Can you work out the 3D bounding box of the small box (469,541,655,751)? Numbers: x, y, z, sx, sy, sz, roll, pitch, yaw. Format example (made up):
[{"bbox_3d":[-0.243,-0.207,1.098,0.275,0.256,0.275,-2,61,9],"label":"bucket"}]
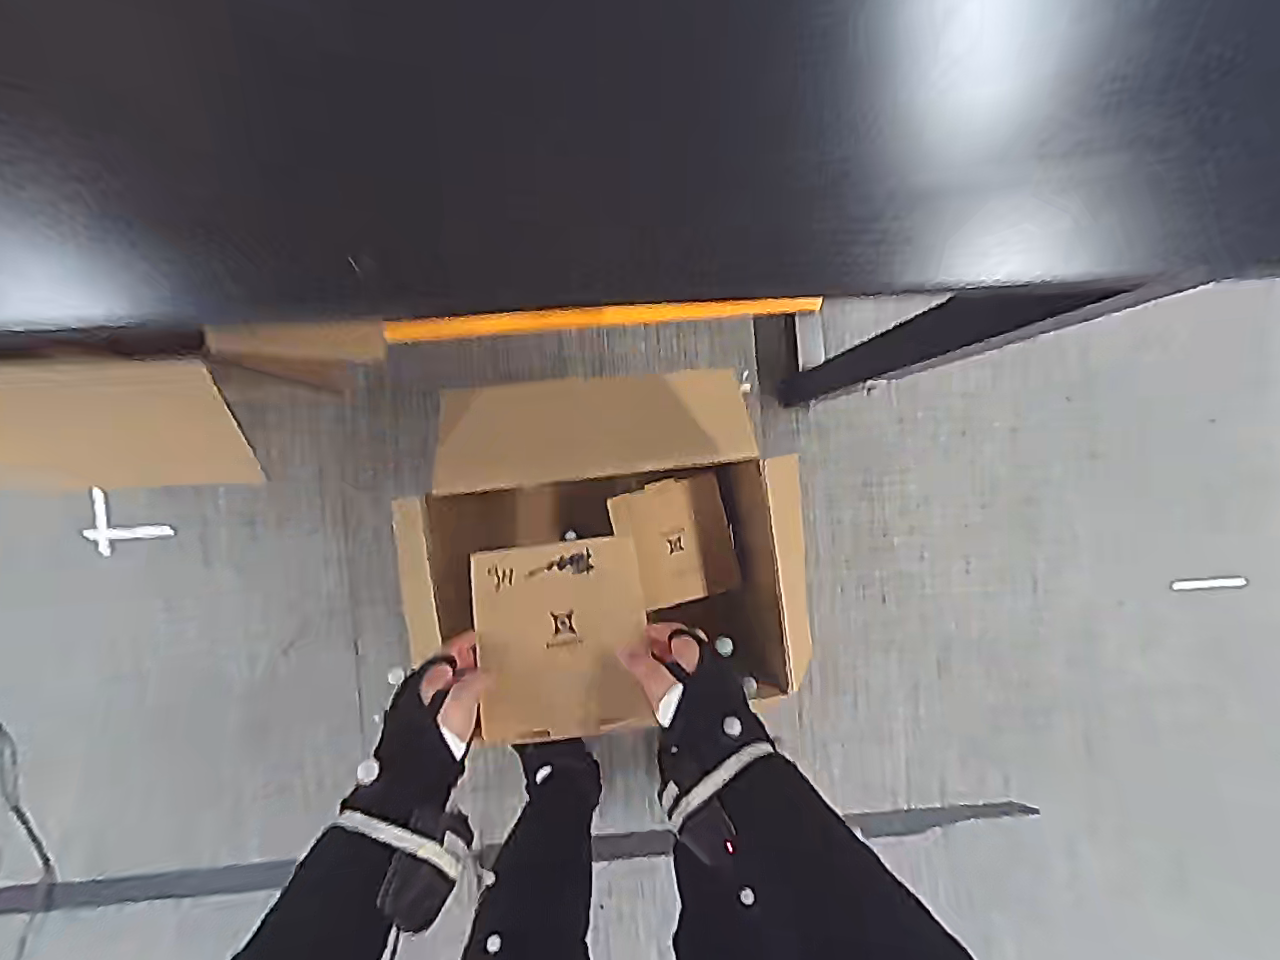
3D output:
[{"bbox_3d":[-0.083,0.173,0.593,0.168,0.176,0.179,-7,75,-8],"label":"small box"}]
